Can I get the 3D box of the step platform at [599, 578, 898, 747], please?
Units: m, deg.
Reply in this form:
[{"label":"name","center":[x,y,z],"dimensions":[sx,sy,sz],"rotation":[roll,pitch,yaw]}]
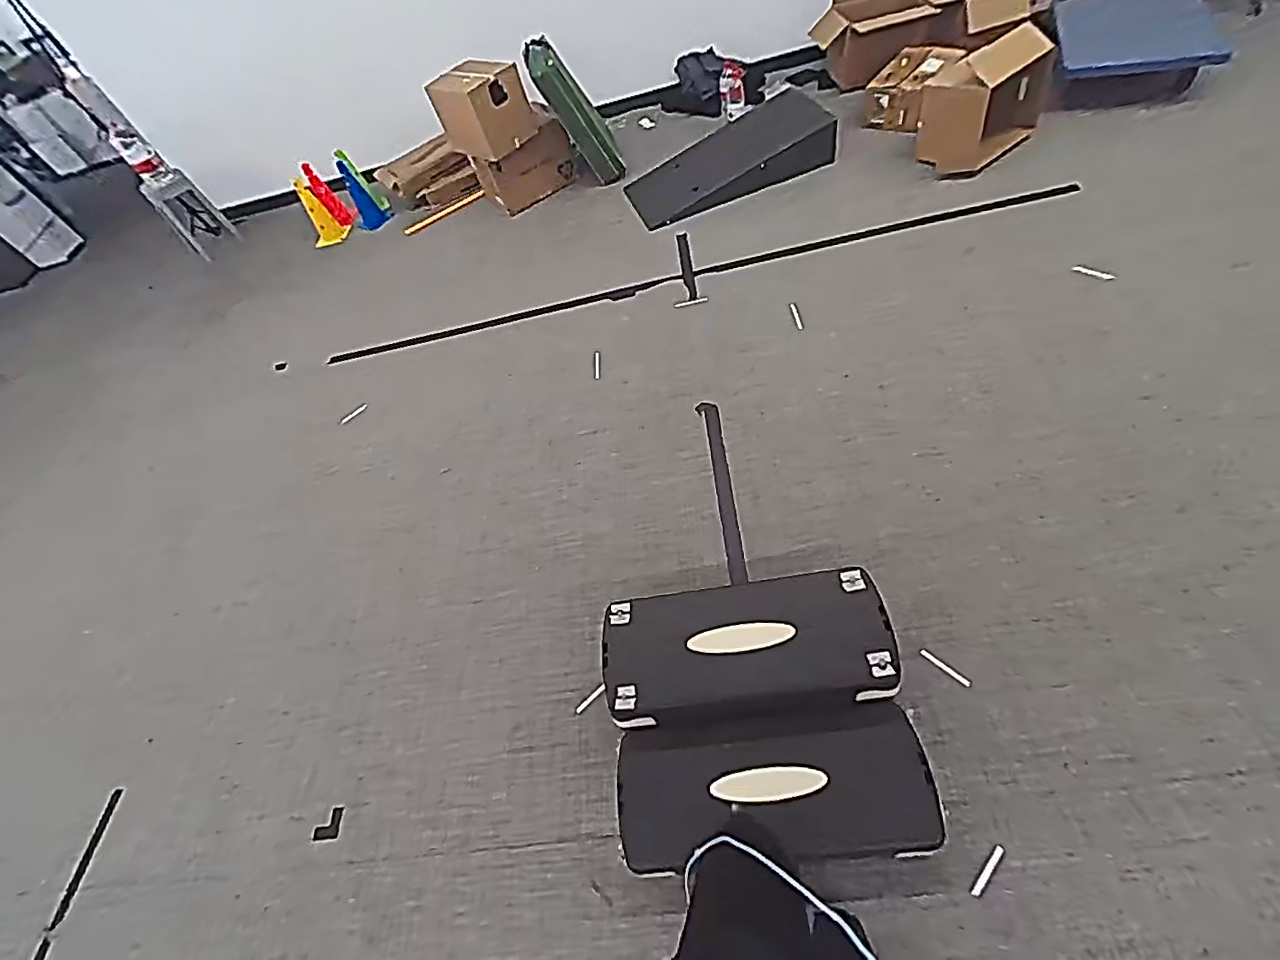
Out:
[{"label":"step platform","center":[0.242,0.440,1.307],"dimensions":[0.684,0.204,0.286],"rotation":[-11,54,7]}]
